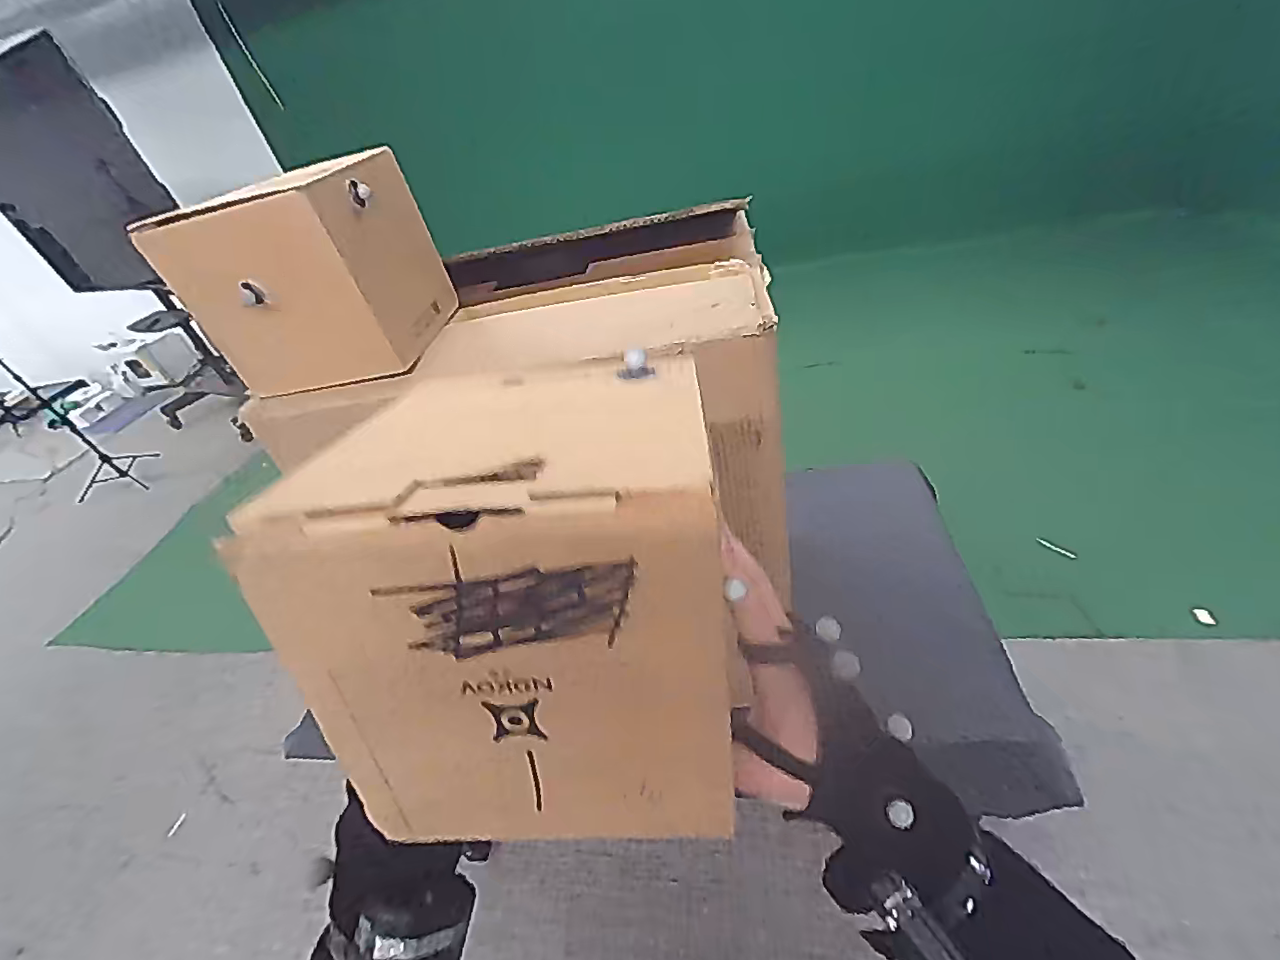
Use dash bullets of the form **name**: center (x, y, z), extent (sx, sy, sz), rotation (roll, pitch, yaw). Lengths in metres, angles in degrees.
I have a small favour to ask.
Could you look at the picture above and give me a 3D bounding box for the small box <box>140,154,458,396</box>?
- **small box**: center (-0.321, -0.203, 0.553), extent (0.179, 0.176, 0.168), rotation (-8, 40, 12)
